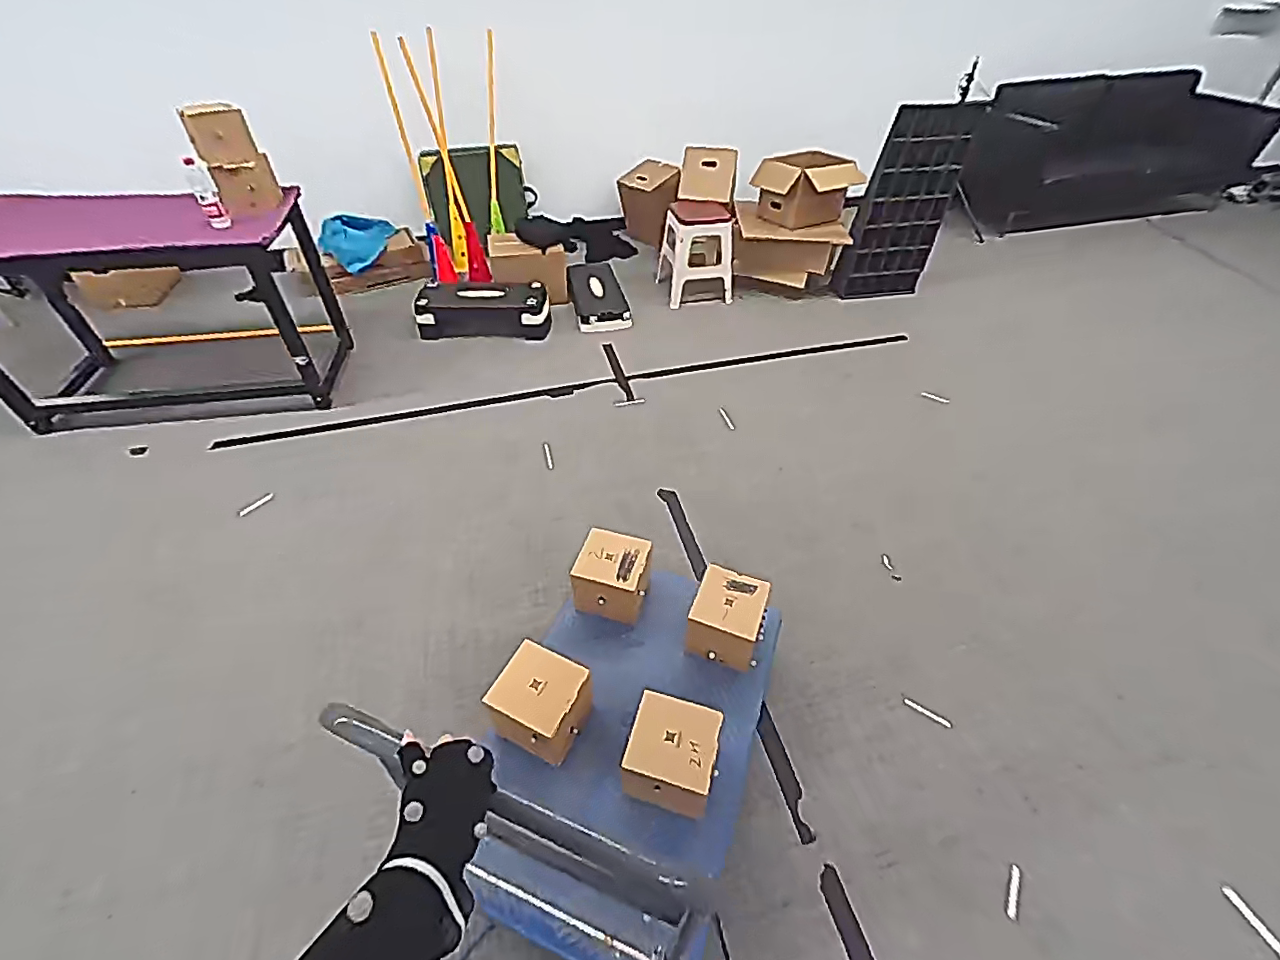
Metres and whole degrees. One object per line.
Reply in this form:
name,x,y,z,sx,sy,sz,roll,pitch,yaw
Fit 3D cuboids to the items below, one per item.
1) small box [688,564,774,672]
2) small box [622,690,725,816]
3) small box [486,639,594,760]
small box,0.227,0.353,1.378,0.168,0.176,0.179,17,48,16
small box,0.070,0.579,1.143,0.179,0.176,0.168,13,46,12
small box,-0.218,0.499,1.222,0.179,0.176,0.168,21,47,17
